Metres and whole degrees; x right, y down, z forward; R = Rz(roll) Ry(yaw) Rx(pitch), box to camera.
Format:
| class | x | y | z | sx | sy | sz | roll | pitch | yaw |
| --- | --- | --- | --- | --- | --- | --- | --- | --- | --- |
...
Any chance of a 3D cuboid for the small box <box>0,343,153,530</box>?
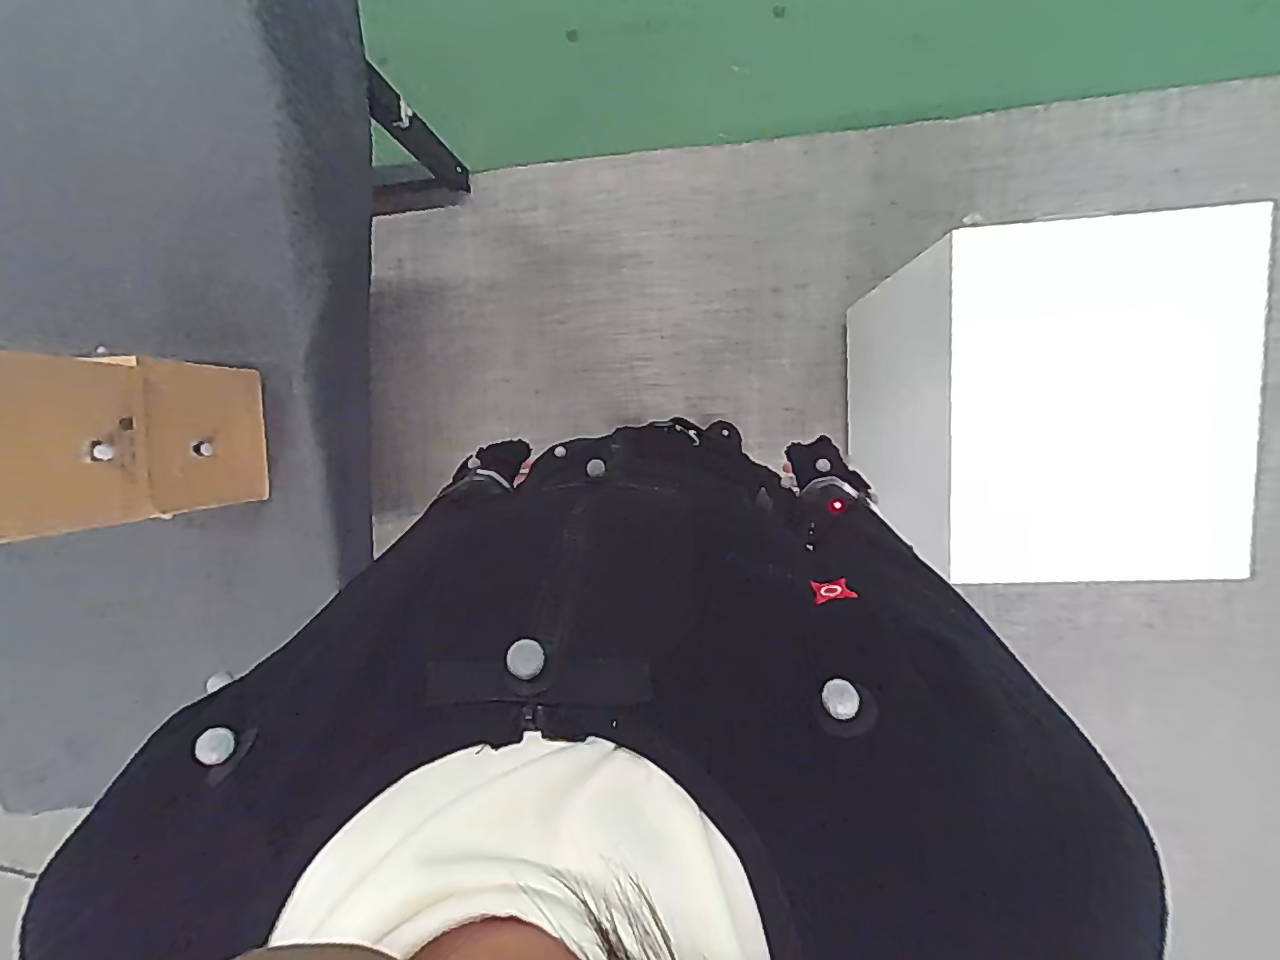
| class | x | y | z | sx | sy | sz | roll | pitch | yaw |
| --- | --- | --- | --- | --- | --- | --- | --- | --- | --- |
| small box | -0.627 | -0.040 | 0.518 | 0.179 | 0.176 | 0.168 | 0 | 96 | 9 |

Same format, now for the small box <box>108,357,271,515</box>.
| class | x | y | z | sx | sy | sz | roll | pitch | yaw |
| --- | --- | --- | --- | --- | --- | --- | --- | --- | --- |
| small box | -0.602 | -0.057 | 0.679 | 0.168 | 0.176 | 0.179 | 0 | 97 | 7 |
